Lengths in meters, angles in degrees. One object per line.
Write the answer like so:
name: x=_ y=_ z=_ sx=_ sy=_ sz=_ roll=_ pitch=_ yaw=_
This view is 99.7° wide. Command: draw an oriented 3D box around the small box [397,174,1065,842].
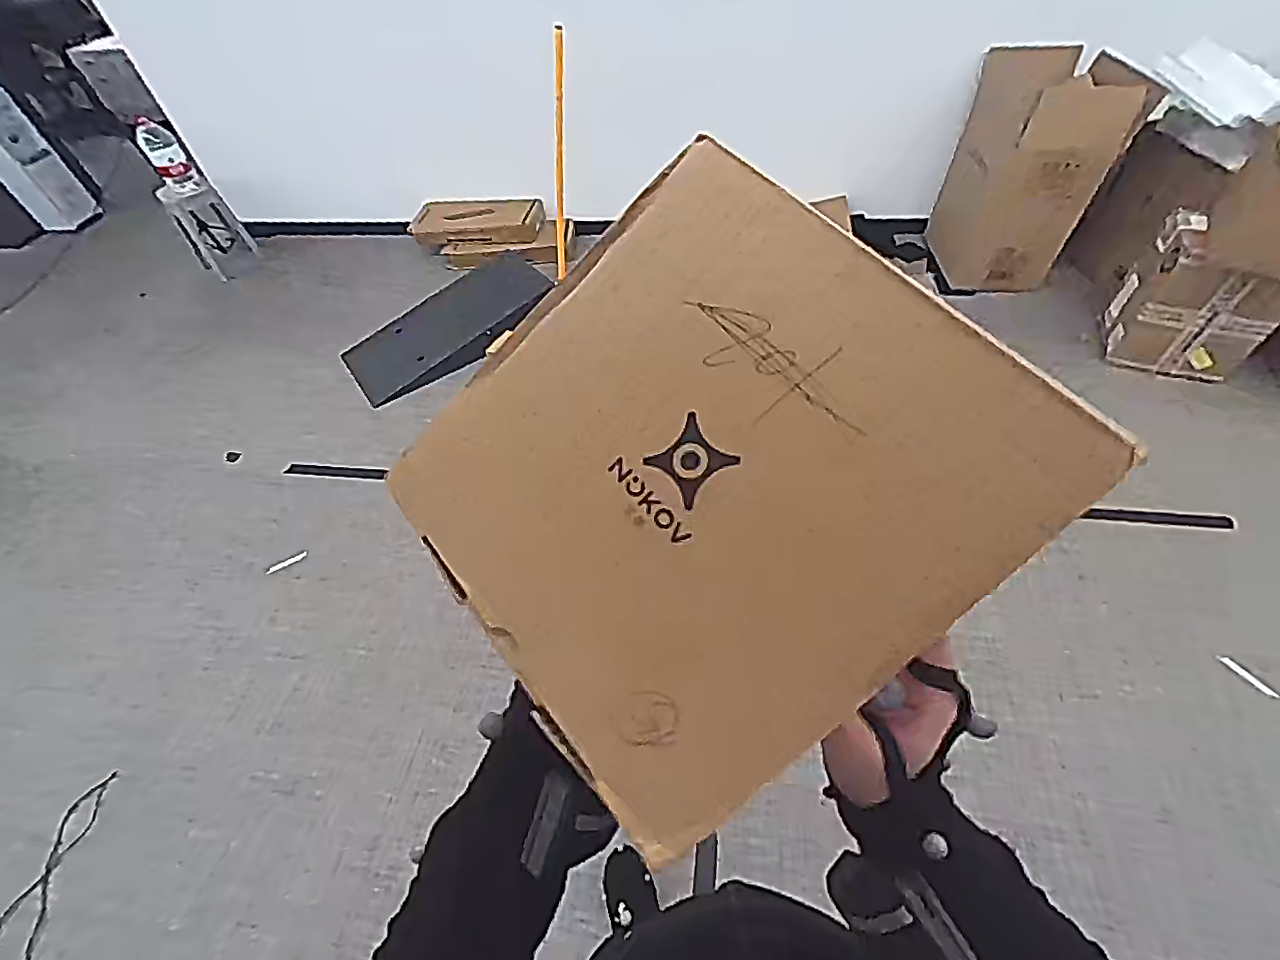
small box: x=0.035 y=0.013 z=0.261 sx=0.179 sy=0.176 sz=0.168 roll=-46 pitch=72 yaw=6
